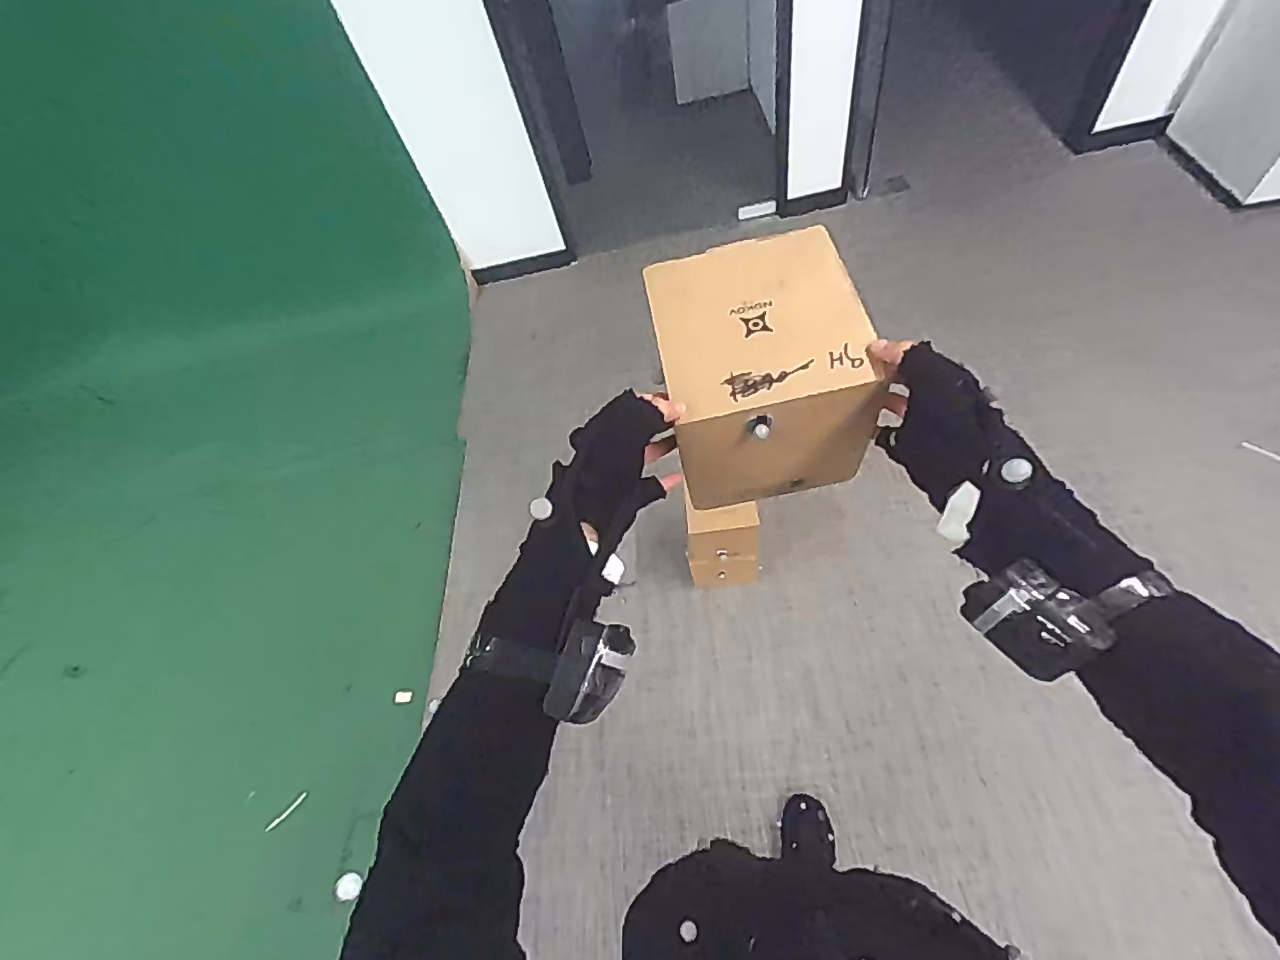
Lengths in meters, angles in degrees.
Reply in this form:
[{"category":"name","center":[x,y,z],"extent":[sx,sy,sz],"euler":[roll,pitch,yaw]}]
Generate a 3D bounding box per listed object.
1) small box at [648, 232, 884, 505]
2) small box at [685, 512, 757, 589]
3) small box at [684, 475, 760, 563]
[{"category":"small box","center":[0.109,-0.099,0.525],"extent":[0.168,0.176,0.179],"euler":[-12,61,5]},{"category":"small box","center":[0.224,0.188,1.488],"extent":[0.179,0.176,0.168],"euler":[-8,55,9]},{"category":"small box","center":[0.207,0.091,1.360],"extent":[0.168,0.176,0.179],"euler":[-9,56,9]}]
